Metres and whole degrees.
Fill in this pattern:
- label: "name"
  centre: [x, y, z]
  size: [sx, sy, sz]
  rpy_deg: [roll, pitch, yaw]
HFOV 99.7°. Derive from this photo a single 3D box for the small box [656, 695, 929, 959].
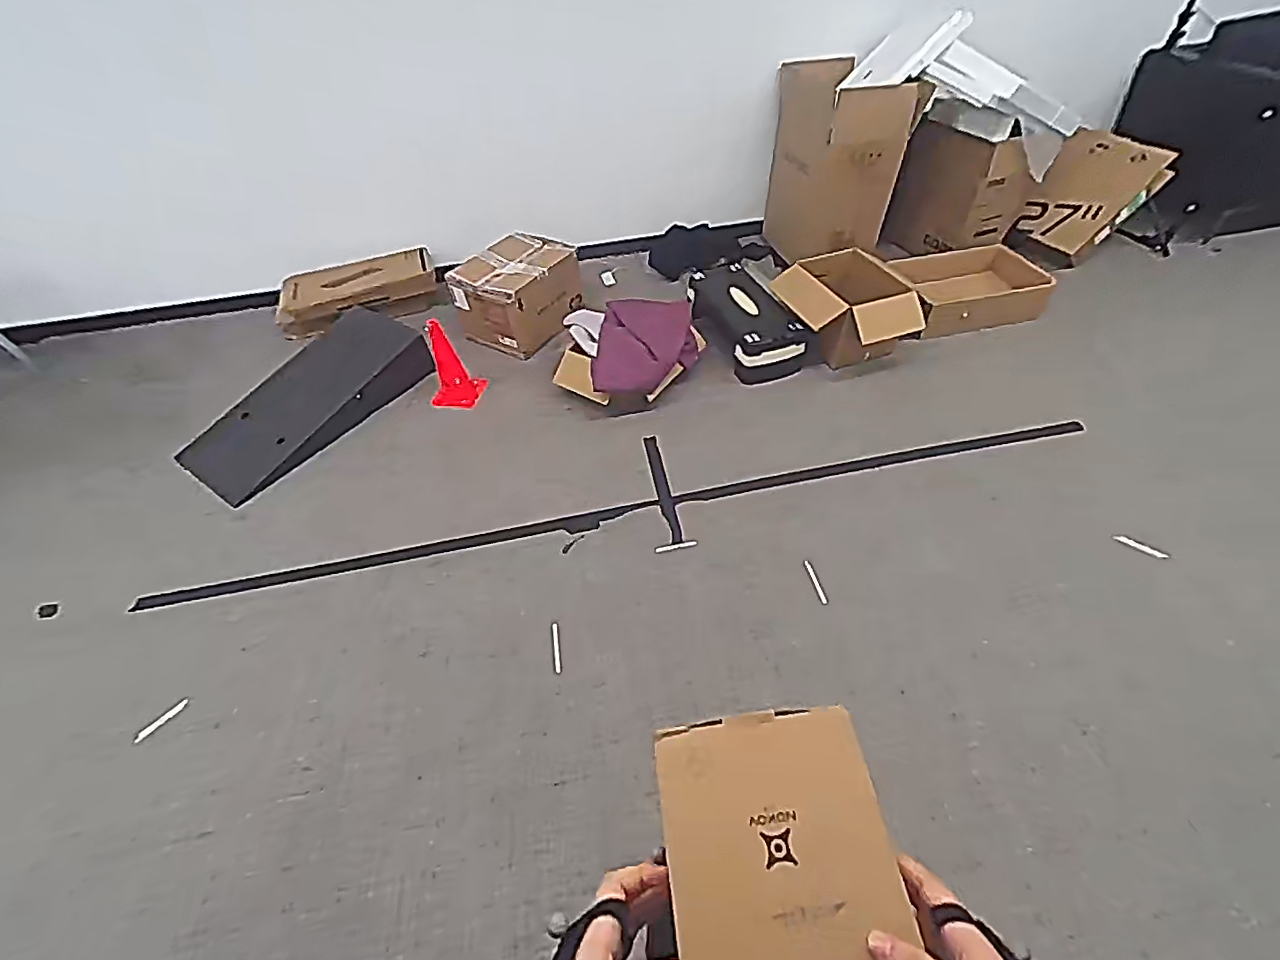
- label: "small box"
  centre: [0.105, 0.304, 0.466]
  size: [0.168, 0.176, 0.179]
  rpy_deg: [-8, 57, -1]
